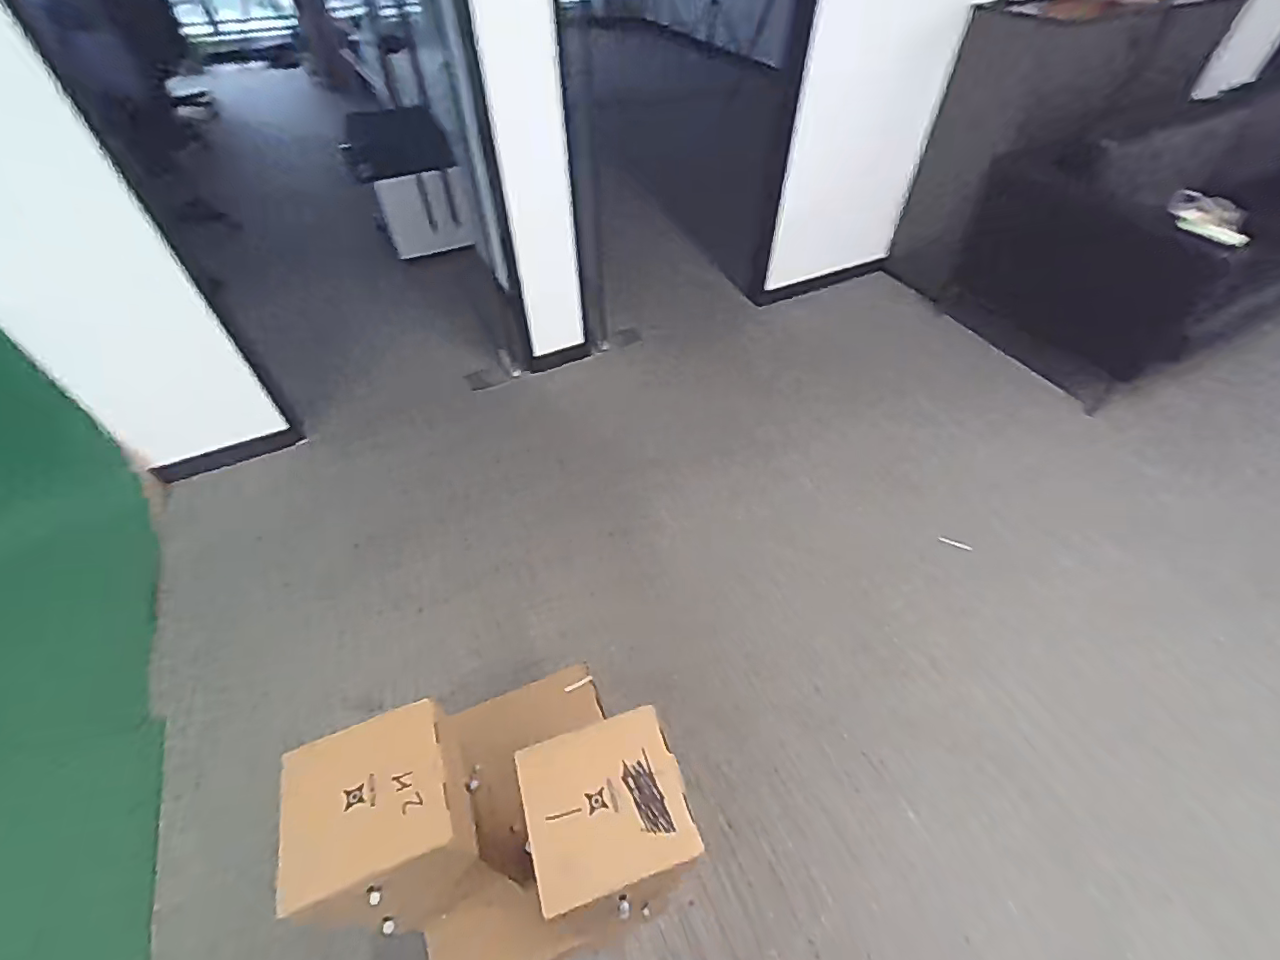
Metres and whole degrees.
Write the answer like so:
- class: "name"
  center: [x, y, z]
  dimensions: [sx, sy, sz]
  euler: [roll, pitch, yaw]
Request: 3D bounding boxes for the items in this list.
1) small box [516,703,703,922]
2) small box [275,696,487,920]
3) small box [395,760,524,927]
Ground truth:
- class: "small box"
  center: [-0.040, 0.405, 0.660]
  dimensions: [0.179, 0.176, 0.168]
  euler: [-15, 49, -12]
- class: "small box"
  center: [-0.306, 0.402, 0.661]
  dimensions: [0.179, 0.176, 0.168]
  euler: [-18, 50, -14]
- class: "small box"
  center: [-0.305, 0.614, 0.915]
  dimensions: [0.168, 0.176, 0.179]
  euler: [-16, 49, -12]
